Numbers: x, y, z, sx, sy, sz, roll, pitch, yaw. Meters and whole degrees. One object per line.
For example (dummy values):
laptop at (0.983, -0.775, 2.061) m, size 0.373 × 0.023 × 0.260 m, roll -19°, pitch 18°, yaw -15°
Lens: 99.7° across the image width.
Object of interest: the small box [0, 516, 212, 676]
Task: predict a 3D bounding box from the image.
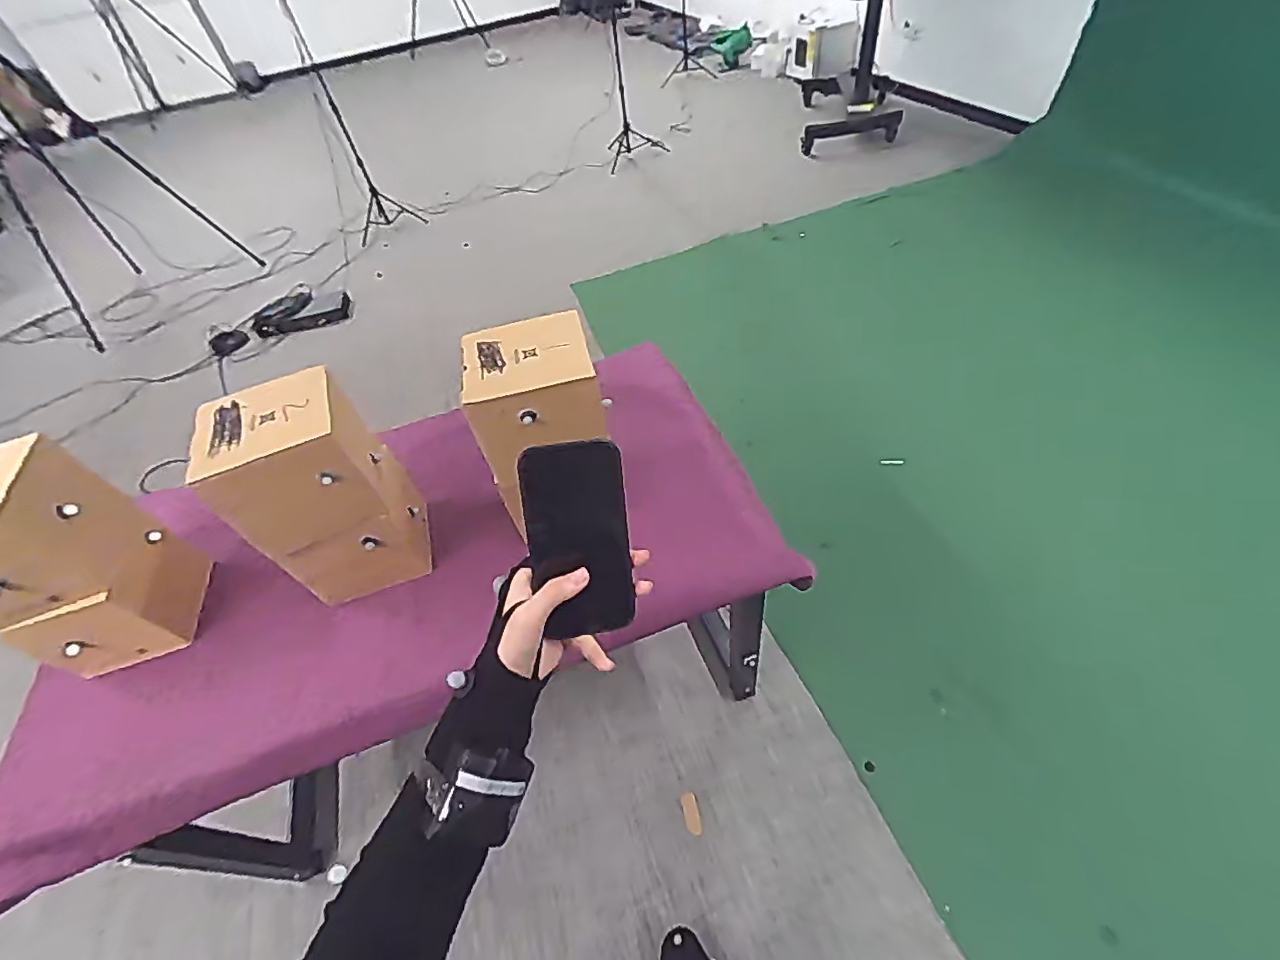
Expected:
small box at (-0.838, 0.193, 0.867) m, size 0.168 × 0.176 × 0.179 m, roll -18°, pitch 49°, yaw -6°

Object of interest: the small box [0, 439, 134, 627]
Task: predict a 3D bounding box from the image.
small box at (-0.863, 0.081, 0.749) m, size 0.168 × 0.176 × 0.179 m, roll -22°, pitch 50°, yaw -10°

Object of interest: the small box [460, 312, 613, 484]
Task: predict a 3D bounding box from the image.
small box at (-0.149, -0.116, 0.797) m, size 0.179 × 0.176 × 0.168 m, roll -14°, pitch 48°, yaw -3°

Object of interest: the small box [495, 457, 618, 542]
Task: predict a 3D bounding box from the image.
small box at (-0.140, -0.018, 0.928) m, size 0.179 × 0.176 × 0.168 m, roll -15°, pitch 48°, yaw -2°

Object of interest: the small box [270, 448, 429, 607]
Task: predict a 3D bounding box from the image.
small box at (-0.465, 0.081, 0.897) m, size 0.179 × 0.176 × 0.168 m, roll -19°, pitch 49°, yaw -7°
